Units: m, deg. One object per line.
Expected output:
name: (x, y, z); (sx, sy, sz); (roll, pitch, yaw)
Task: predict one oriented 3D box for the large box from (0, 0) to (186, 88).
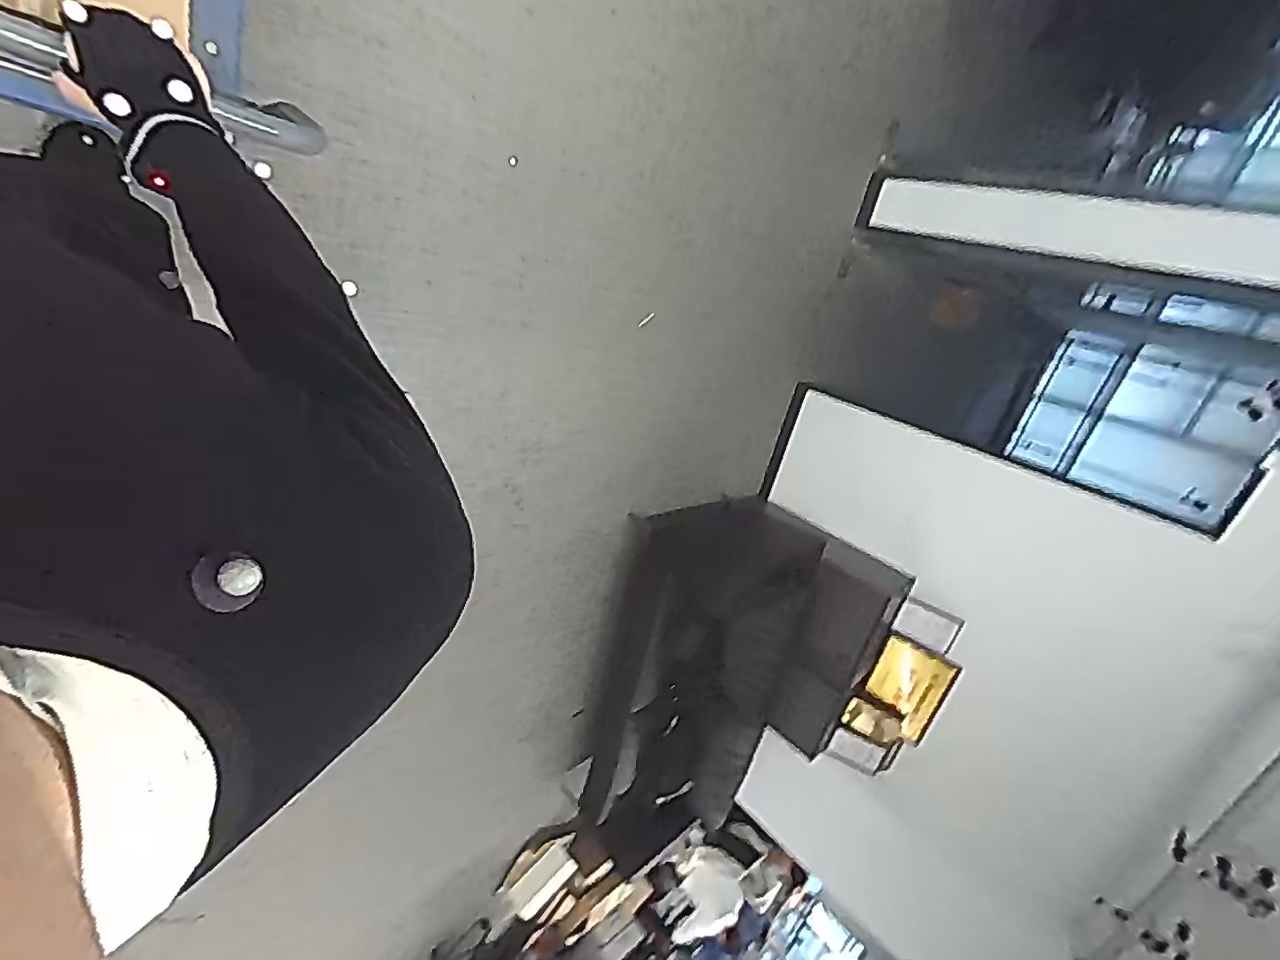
large box: (-0.826, -0.812, 0.710); (0.320, 0.320, 0.408); (-5, 118, -47)
